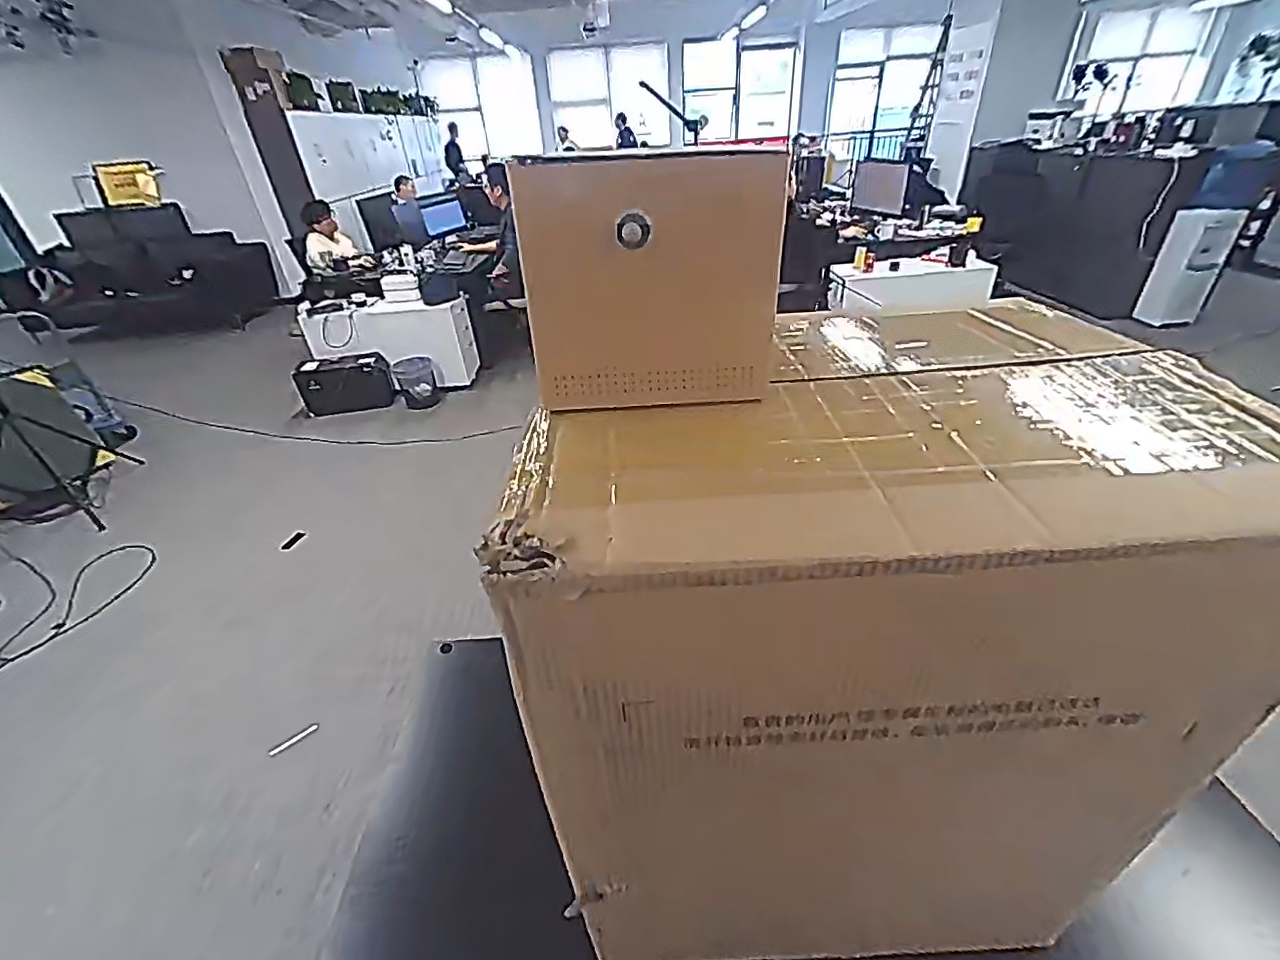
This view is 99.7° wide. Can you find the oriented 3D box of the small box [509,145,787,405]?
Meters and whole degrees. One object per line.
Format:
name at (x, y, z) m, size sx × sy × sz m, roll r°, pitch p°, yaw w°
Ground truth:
small box at (0.007, -0.166, 0.438) m, size 0.179 × 0.176 × 0.168 m, roll -3°, pitch 32°, yaw -1°
